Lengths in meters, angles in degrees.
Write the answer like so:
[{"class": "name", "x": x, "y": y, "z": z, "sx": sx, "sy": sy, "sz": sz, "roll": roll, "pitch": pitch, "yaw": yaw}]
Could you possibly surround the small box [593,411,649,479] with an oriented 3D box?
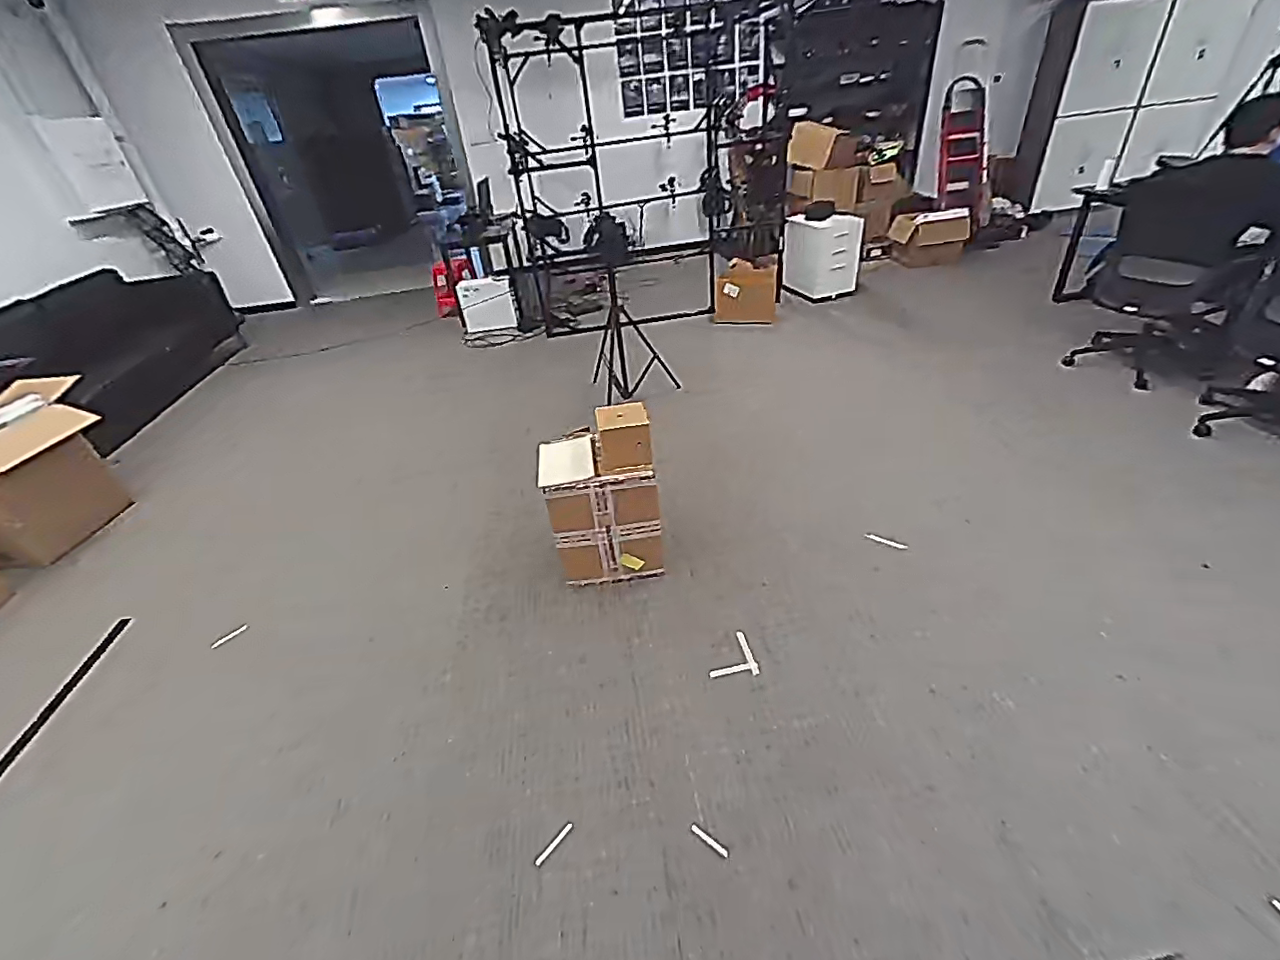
[{"class": "small box", "x": -0.066, "y": -0.122, "z": 1.907, "sx": 0.179, "sy": 0.176, "sz": 0.168, "roll": -10, "pitch": 36, "yaw": -5}]
